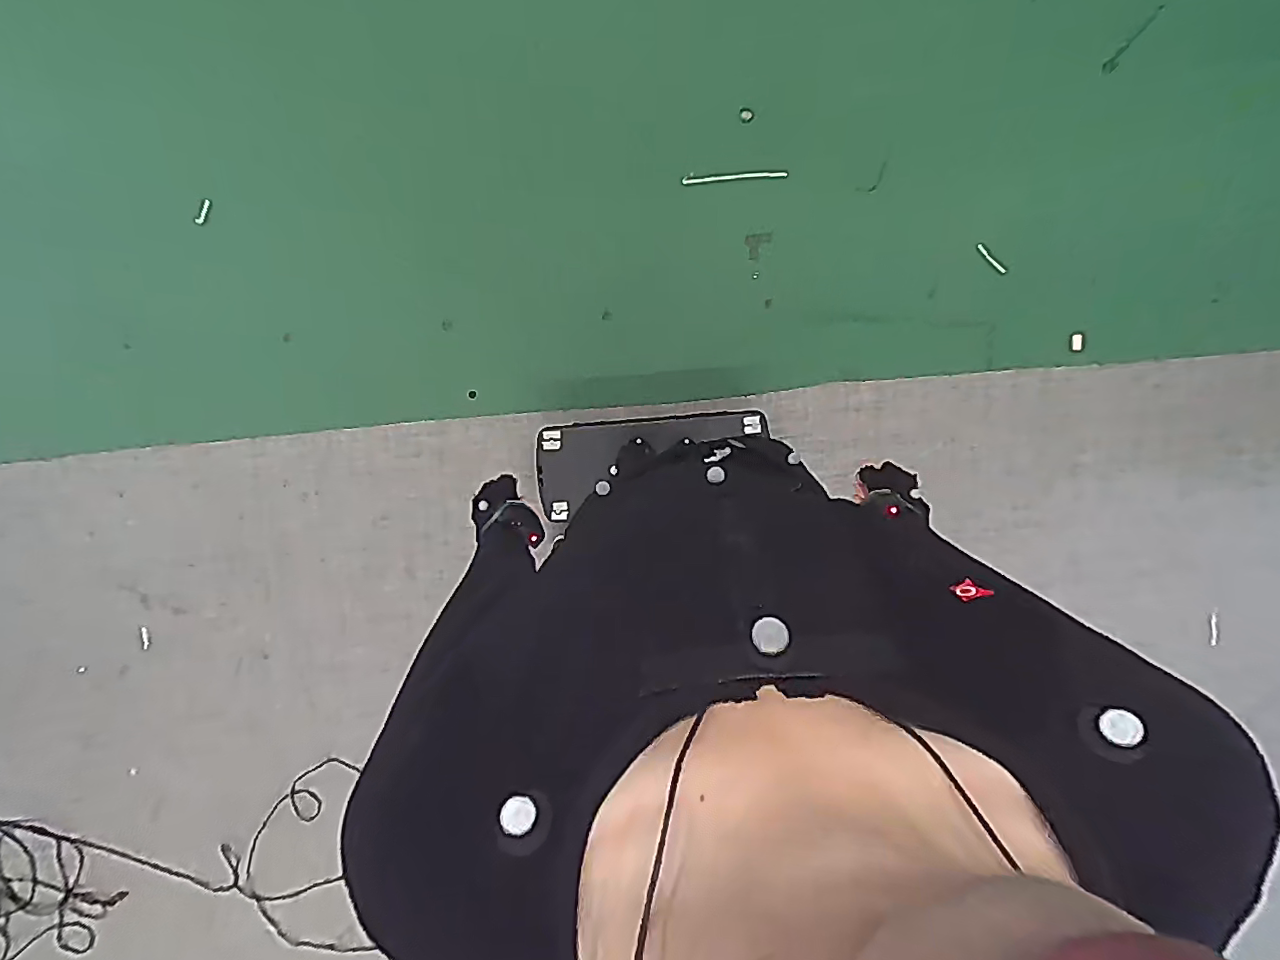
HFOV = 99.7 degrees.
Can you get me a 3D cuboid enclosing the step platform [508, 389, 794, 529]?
[{"bbox_3d":[0.028,-0.057,1.381,0.684,0.204,0.286,-5,95,1],"label":"step platform"}]
